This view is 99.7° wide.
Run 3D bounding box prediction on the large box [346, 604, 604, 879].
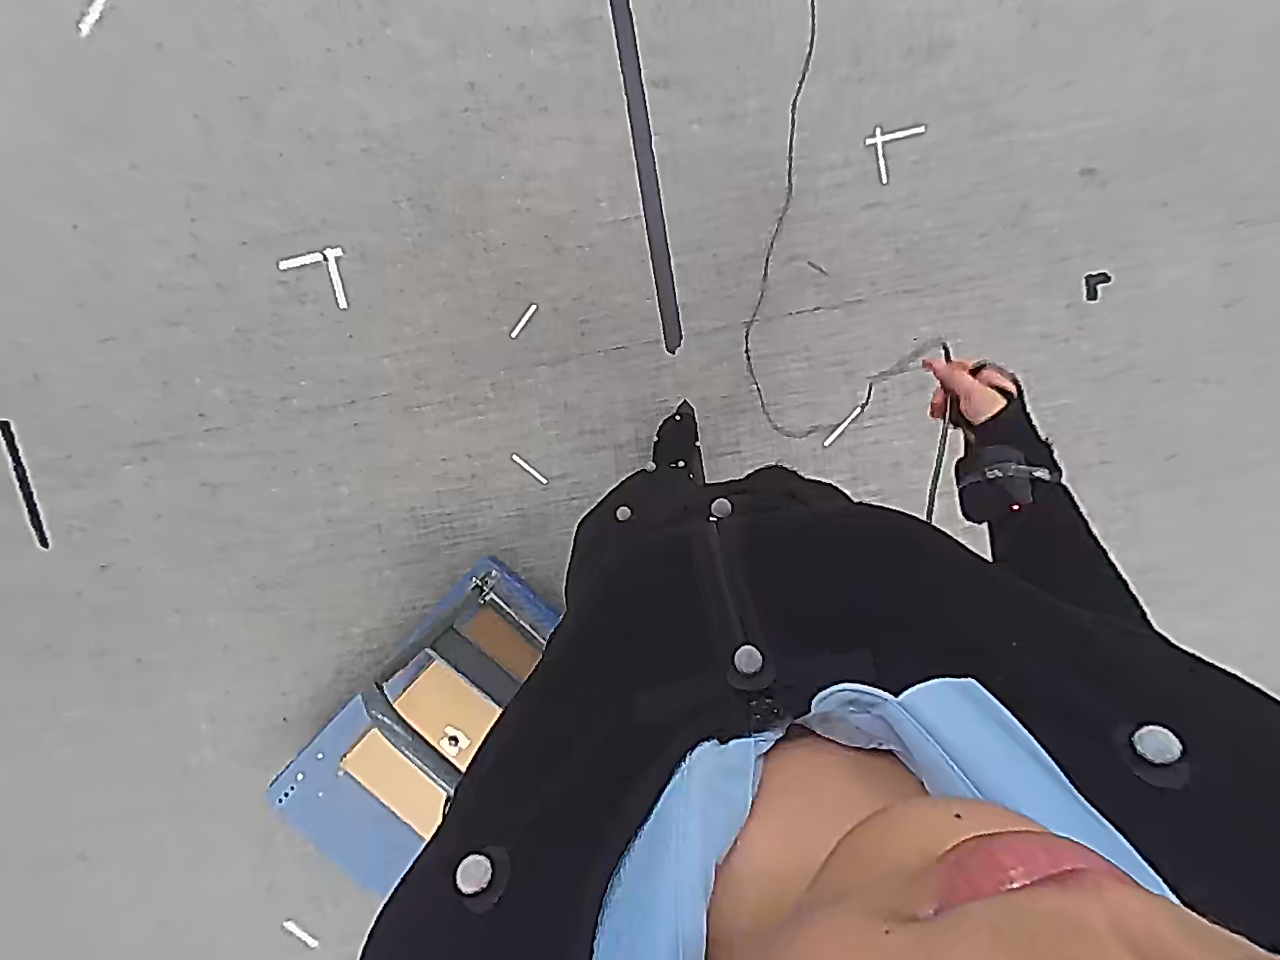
[{"bbox_3d":[-0.338,0.561,1.226,0.408,0.320,0.320,43,94,-3],"label":"large box"}]
